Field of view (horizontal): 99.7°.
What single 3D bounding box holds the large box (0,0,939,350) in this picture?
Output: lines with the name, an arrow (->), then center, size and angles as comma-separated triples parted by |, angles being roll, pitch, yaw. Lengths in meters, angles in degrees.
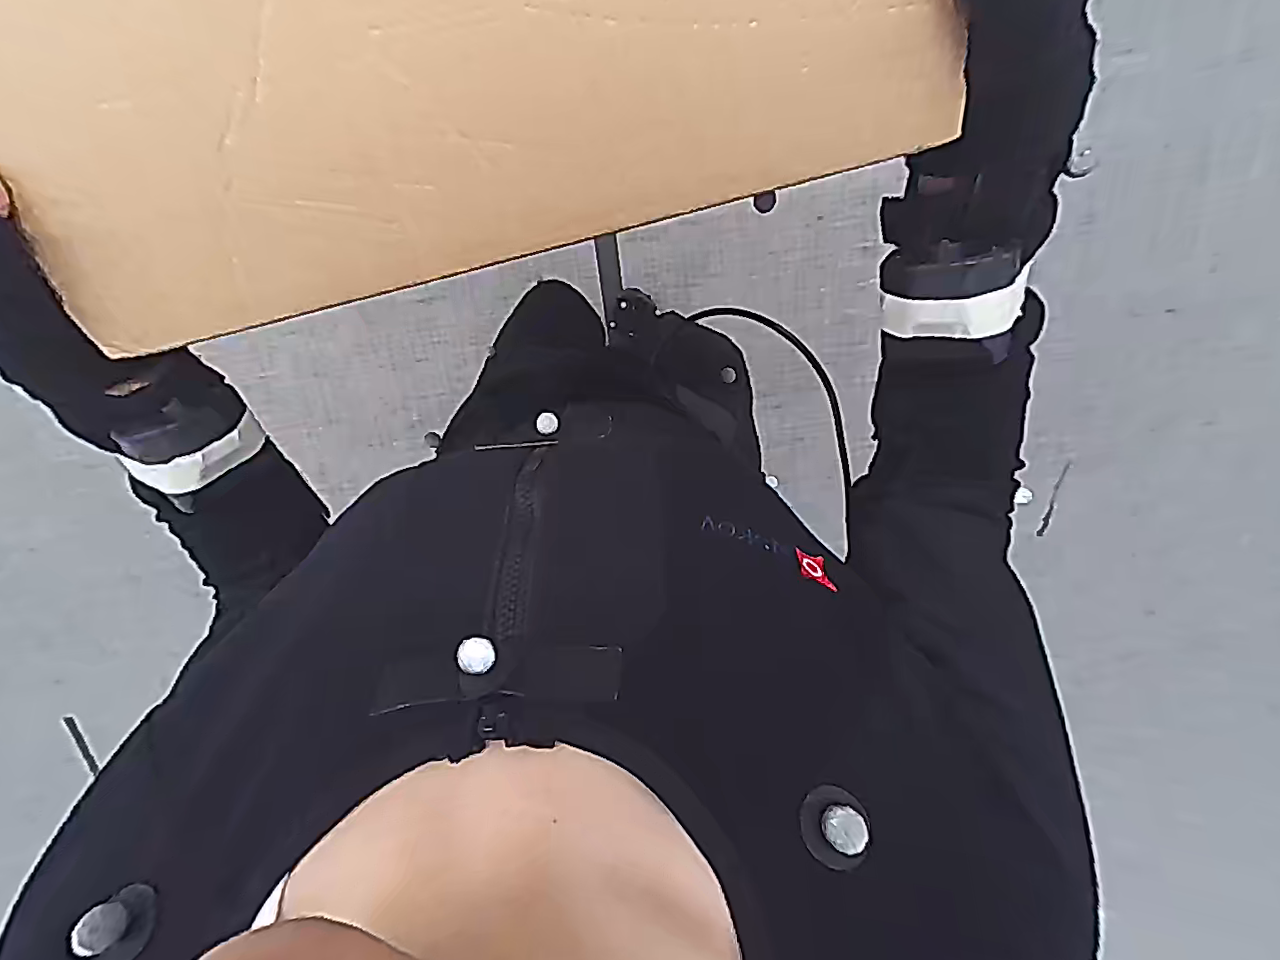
large box -> -0.104, -0.315, 0.299 | 0.408, 0.320, 0.320 | -12, 122, 6
